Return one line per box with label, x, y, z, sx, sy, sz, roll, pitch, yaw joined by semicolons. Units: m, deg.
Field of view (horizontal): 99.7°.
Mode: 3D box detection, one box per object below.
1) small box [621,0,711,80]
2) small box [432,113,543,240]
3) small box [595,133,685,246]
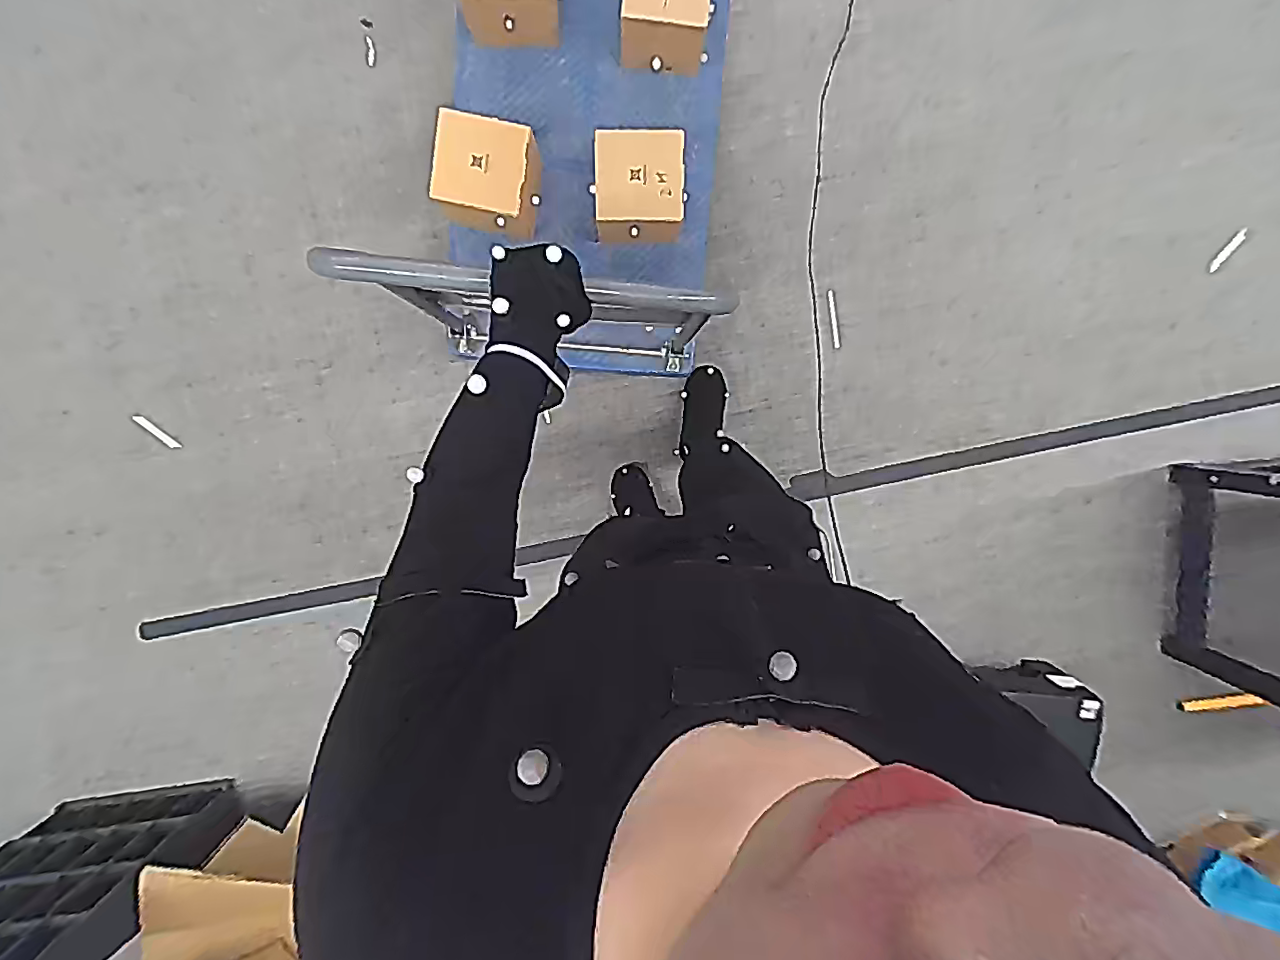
small box;0.051;-0.948;1.078;0.168;0.176;0.179;5;99;-3
small box;-0.308;-0.614;1.118;0.179;0.176;0.168;9;98;-5
small box;-0.001;-0.596;1.129;0.179;0.176;0.168;-1;99;-2
